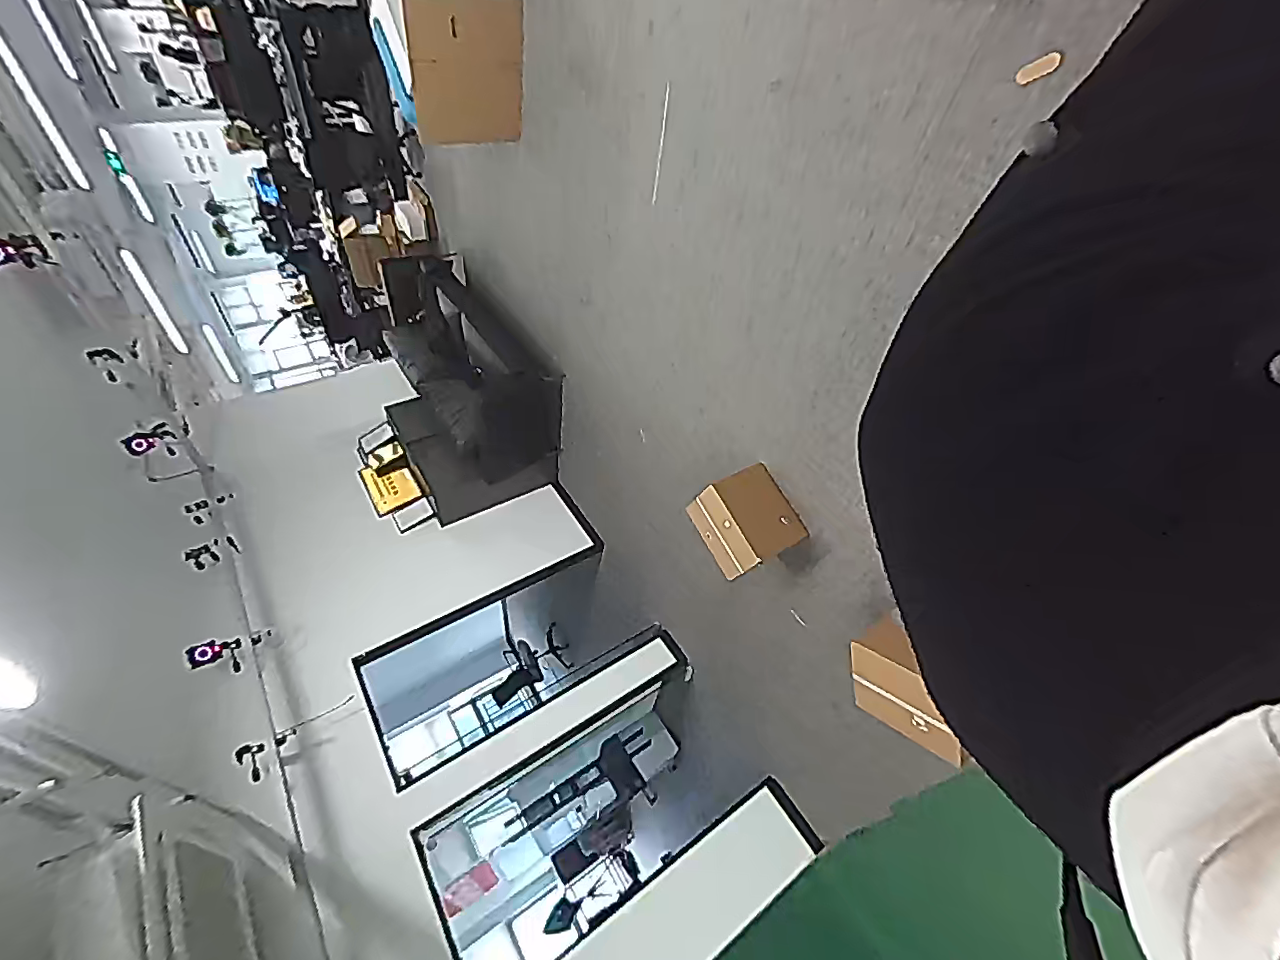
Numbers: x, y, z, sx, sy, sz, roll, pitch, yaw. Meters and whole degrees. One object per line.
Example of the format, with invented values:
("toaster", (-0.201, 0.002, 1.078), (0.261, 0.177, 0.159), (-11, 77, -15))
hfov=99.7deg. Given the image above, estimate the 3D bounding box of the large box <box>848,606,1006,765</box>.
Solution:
("large box", (1.024, 0.712, 1.950), (0.408, 0.320, 0.320), (19, 127, 54))
